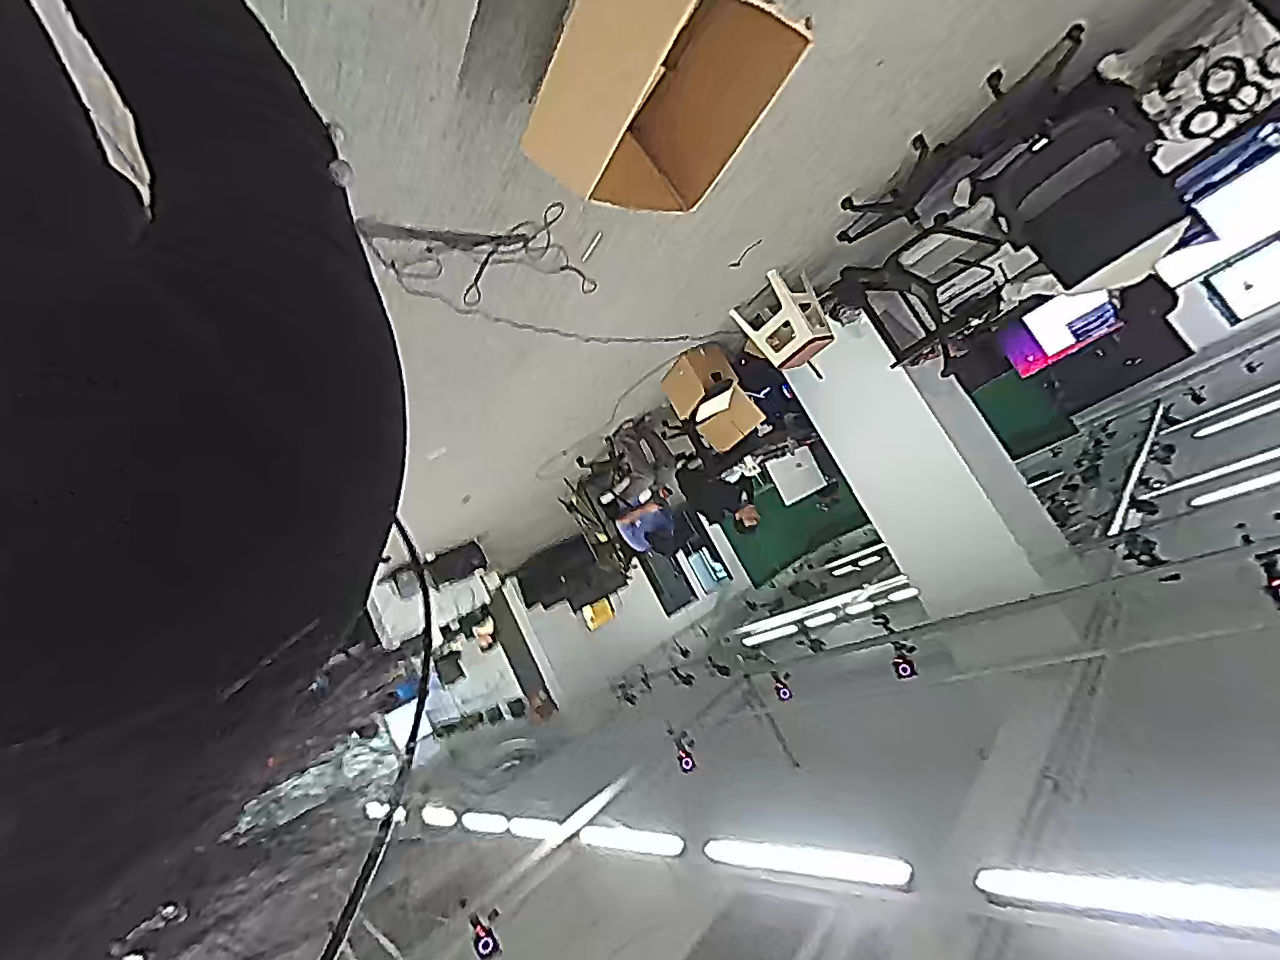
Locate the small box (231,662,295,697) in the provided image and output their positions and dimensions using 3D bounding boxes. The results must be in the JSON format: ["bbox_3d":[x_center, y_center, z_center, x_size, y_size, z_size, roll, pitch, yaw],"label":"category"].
[{"bbox_3d":[-1.299,0.608,1.837,0.168,0.176,0.179,-19,166,-42],"label":"small box"}]

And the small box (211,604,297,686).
[{"bbox_3d":[-1.162,0.495,1.632,0.168,0.176,0.179,-21,168,-35],"label":"small box"}]
